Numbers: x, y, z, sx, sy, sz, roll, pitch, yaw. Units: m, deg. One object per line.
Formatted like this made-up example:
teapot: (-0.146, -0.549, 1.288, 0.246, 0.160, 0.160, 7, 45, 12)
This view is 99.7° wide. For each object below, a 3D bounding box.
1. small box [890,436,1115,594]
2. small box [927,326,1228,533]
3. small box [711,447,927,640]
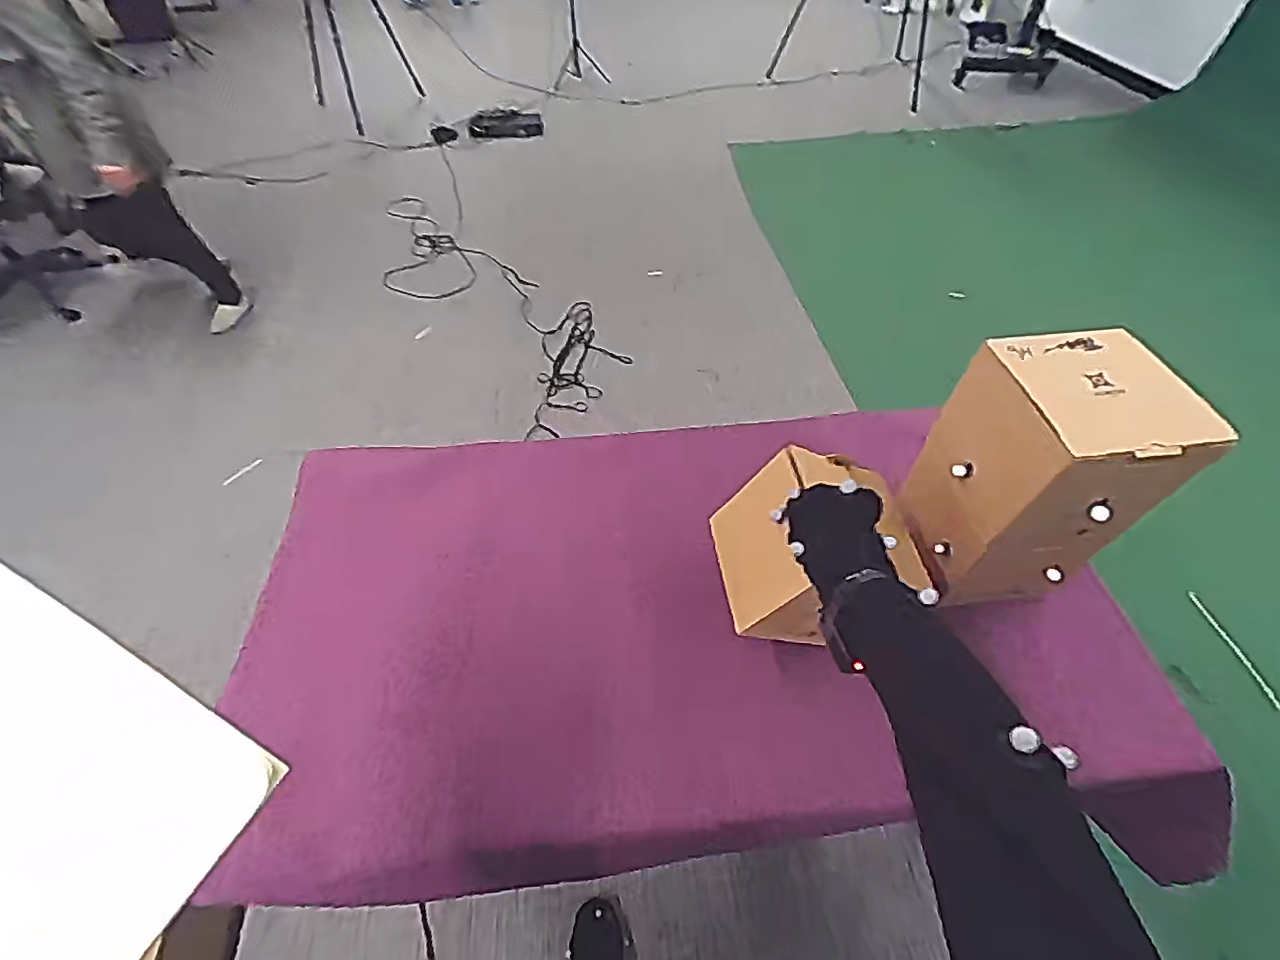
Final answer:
small box: (0.480, 0.048, 0.753, 0.168, 0.176, 0.179, -5, 53, -2)
small box: (0.470, -0.050, 0.621, 0.168, 0.176, 0.179, -5, 54, -3)
small box: (0.213, 0.090, 0.693, 0.168, 0.176, 0.179, 13, 47, -25)
